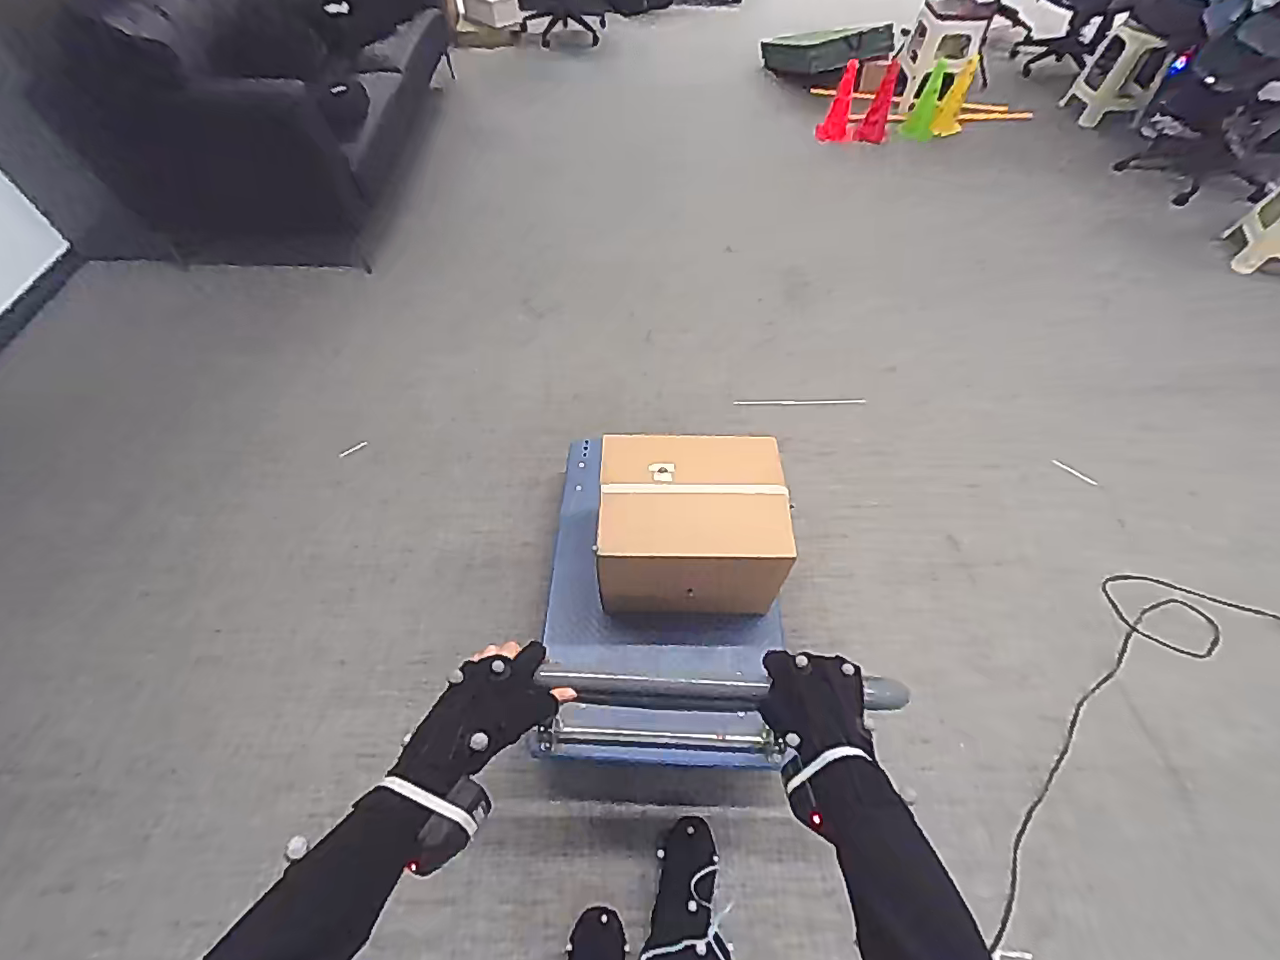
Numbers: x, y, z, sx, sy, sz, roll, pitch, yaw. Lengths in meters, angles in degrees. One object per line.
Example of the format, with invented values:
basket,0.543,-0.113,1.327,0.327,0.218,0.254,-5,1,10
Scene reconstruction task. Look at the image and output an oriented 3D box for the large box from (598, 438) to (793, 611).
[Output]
large box,0.114,0.116,1.304,0.408,0.320,0.320,-1,55,0
